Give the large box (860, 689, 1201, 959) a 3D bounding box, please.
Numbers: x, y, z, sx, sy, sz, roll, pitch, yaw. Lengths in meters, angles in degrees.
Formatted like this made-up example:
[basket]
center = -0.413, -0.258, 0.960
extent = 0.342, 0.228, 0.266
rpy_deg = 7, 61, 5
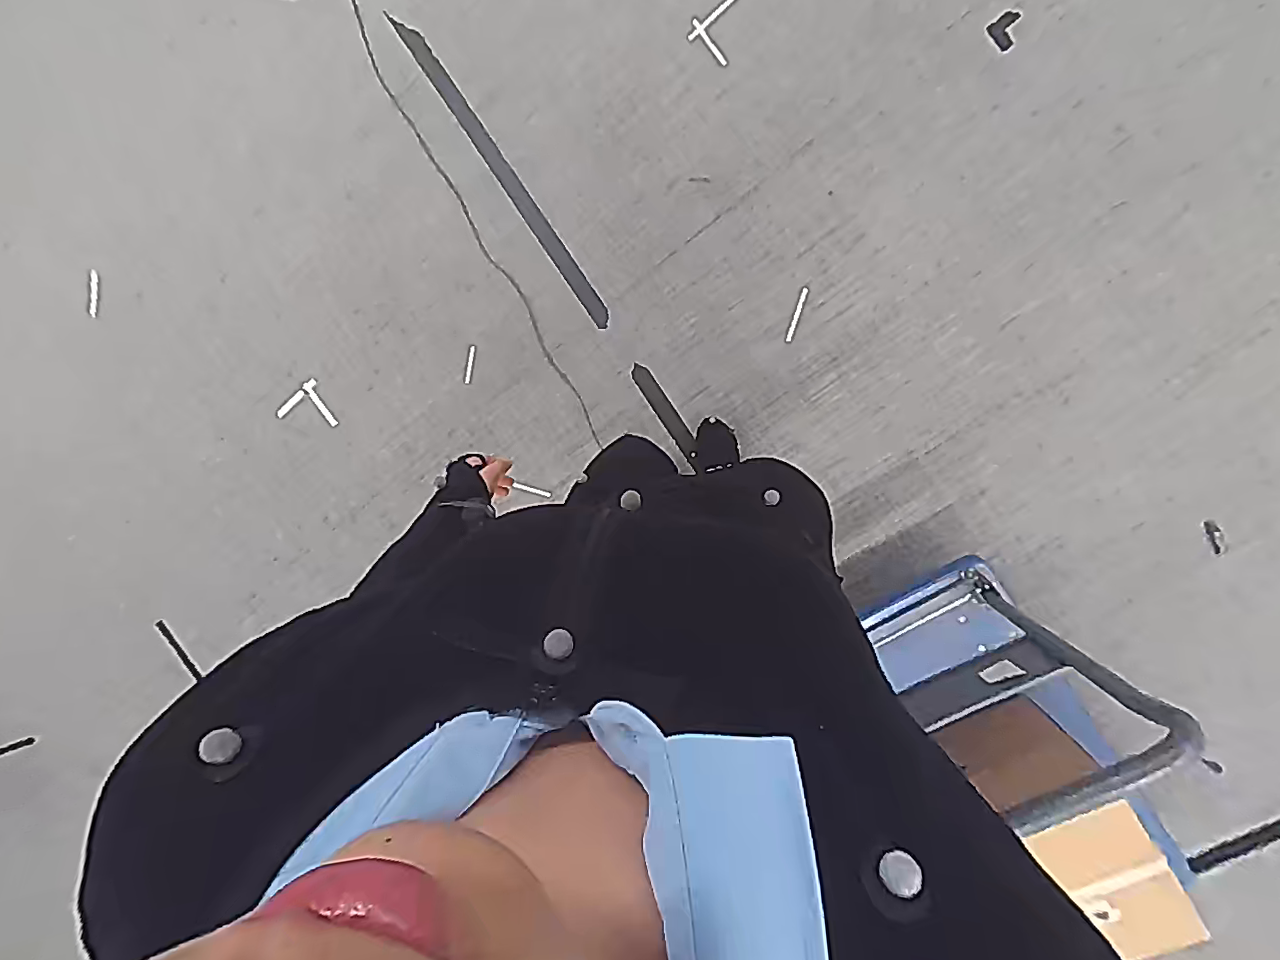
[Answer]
[large box]
center = 0.736, 0.707, 1.102
extent = 0.408, 0.320, 0.320
rpy_deg = -32, 91, 11
